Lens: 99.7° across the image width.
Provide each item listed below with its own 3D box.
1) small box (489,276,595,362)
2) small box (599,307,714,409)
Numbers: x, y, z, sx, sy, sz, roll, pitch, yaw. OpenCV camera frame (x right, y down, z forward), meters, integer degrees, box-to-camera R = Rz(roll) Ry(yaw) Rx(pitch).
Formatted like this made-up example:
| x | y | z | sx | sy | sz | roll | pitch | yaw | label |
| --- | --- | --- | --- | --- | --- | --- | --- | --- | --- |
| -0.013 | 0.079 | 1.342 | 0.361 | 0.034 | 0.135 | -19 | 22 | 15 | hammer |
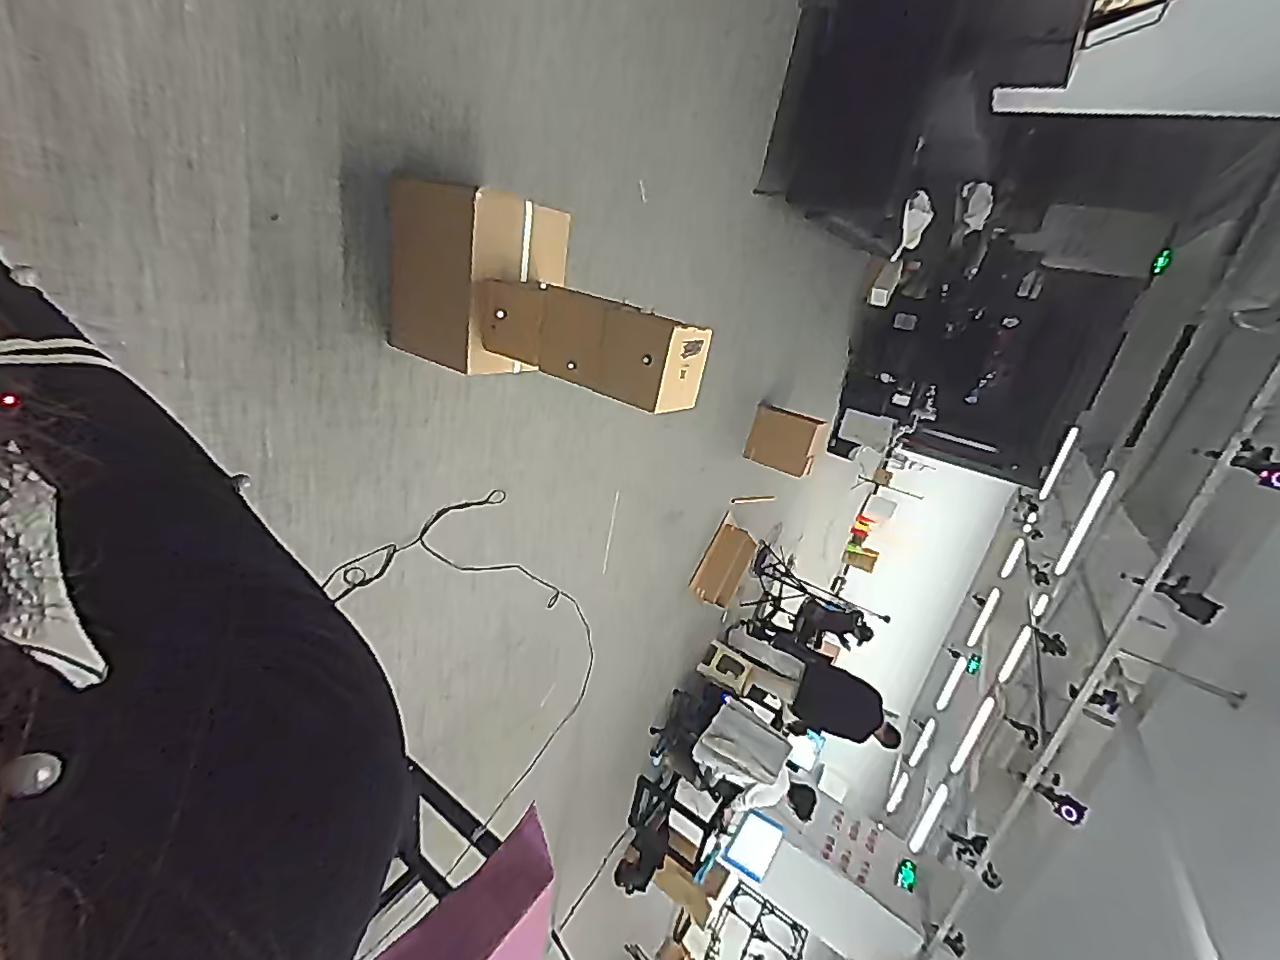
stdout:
| x | y | z | sx | sy | sz | roll | pitch | yaw | label |
| --- | --- | --- | --- | --- | --- | --- | --- | --- | --- |
| -0.236 | -0.390 | 1.301 | 0.179 | 0.176 | 0.168 | -23 | 130 | -51 | small box |
| 0.031 | -0.264 | 1.156 | 0.168 | 0.176 | 0.179 | -19 | 128 | -53 | small box |
